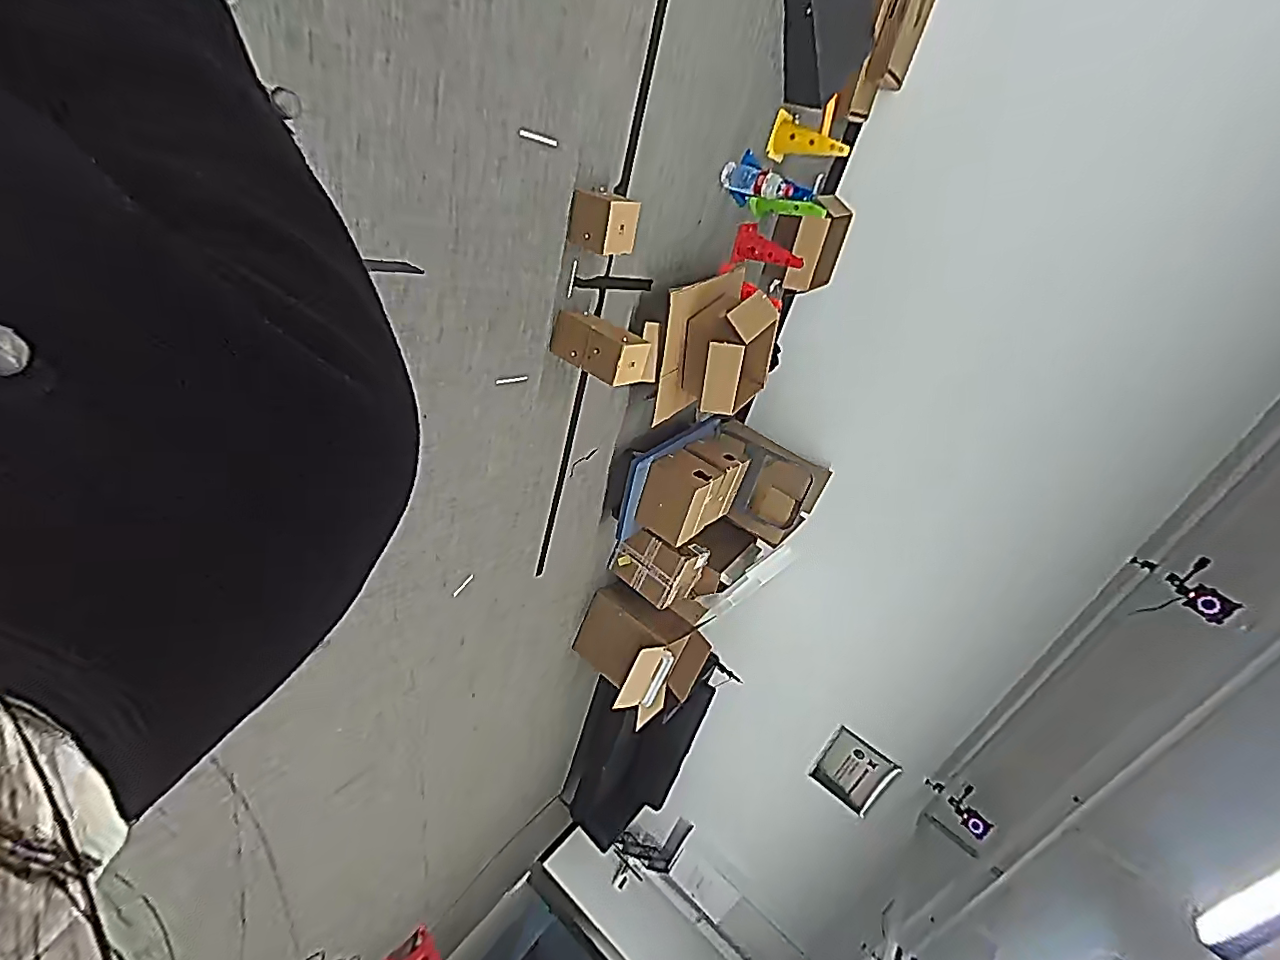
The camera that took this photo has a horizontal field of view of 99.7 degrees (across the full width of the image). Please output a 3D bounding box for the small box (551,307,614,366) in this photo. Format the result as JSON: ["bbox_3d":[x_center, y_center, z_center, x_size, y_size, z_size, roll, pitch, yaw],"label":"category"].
[{"bbox_3d":[-0.228,-0.565,2.133,0.168,0.176,0.179,-20,137,-53],"label":"small box"}]

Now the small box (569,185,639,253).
[{"bbox_3d":[-0.132,-0.917,1.901,0.168,0.176,0.179,-31,143,-46],"label":"small box"}]

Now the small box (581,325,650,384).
[{"bbox_3d":[-0.096,-0.488,2.076,0.179,0.176,0.168,-23,140,-49],"label":"small box"}]
